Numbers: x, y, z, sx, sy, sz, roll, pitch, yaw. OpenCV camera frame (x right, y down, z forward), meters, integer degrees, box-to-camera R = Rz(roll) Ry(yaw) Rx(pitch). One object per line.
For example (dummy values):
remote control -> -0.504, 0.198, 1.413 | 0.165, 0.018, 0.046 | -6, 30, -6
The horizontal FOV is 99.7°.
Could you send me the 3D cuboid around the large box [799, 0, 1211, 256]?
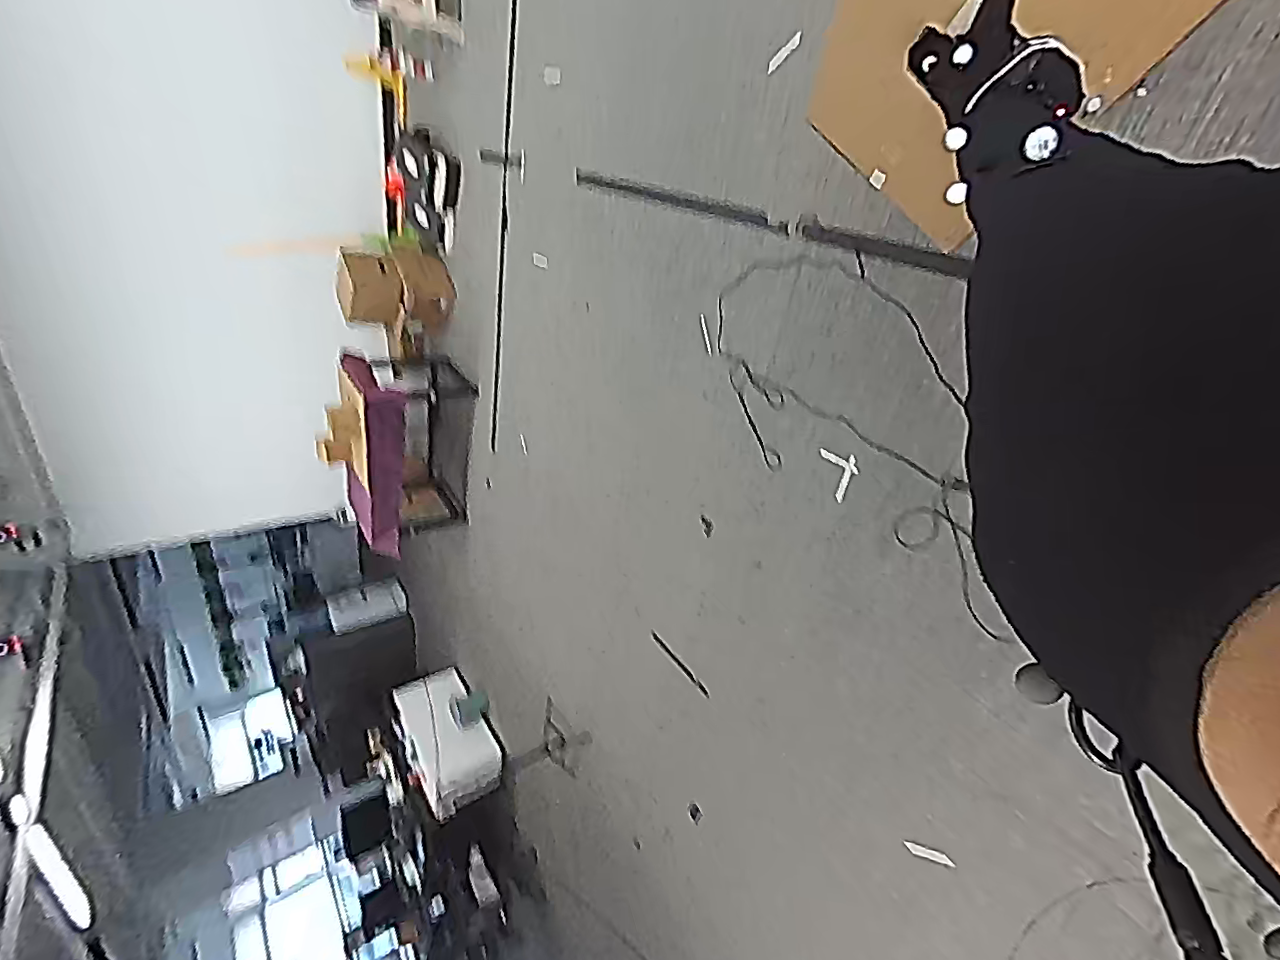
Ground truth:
large box -> 0.472, -0.583, 0.677 | 0.408, 0.320, 0.320 | -45, 84, 5
